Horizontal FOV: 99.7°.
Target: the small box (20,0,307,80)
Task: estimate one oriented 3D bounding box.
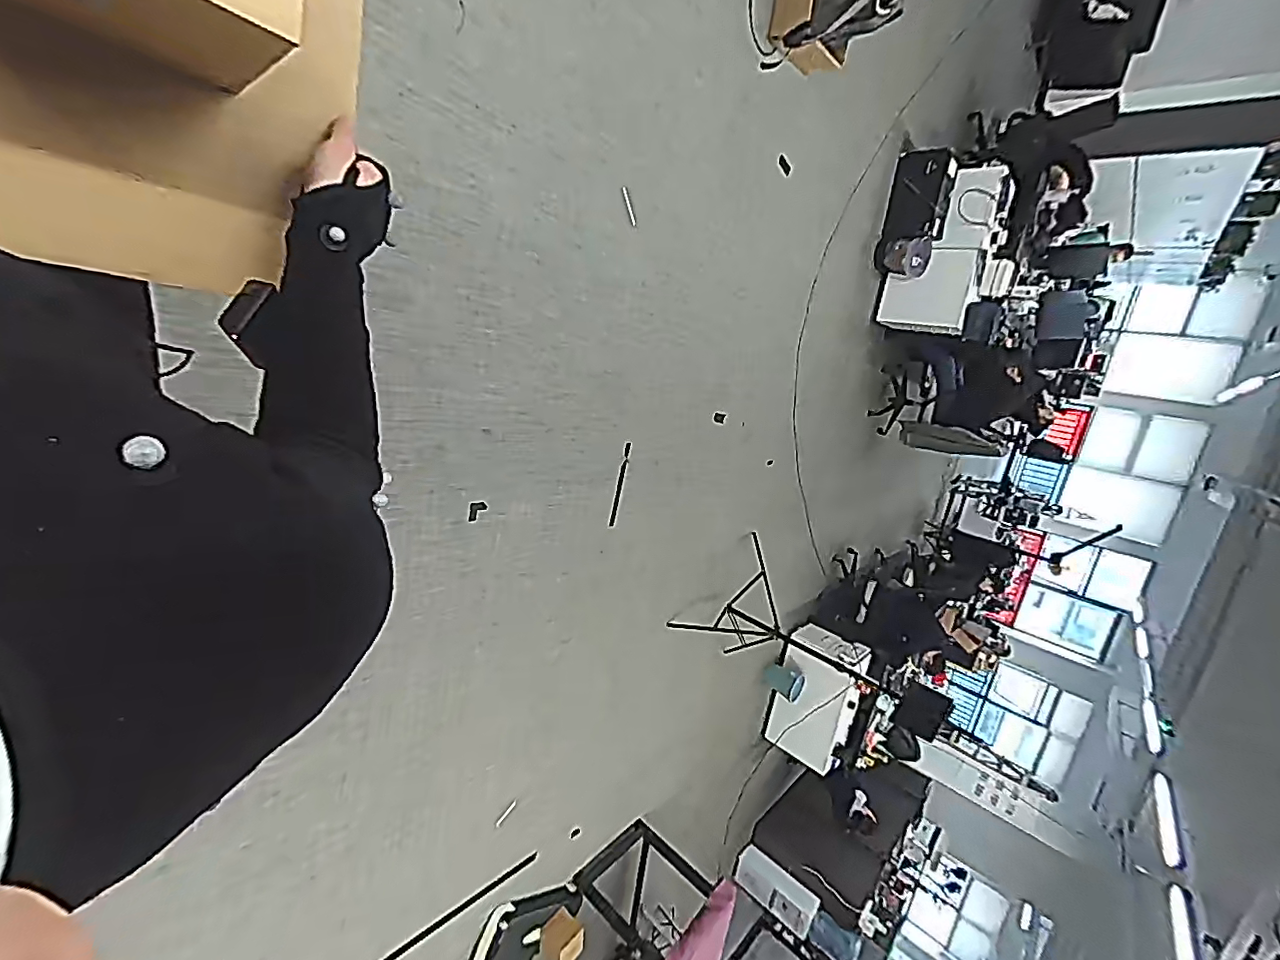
[{"bbox_3d":[-0.327,-0.386,0.338,0.179,0.176,0.168,-2,108,-47],"label":"small box"}]
